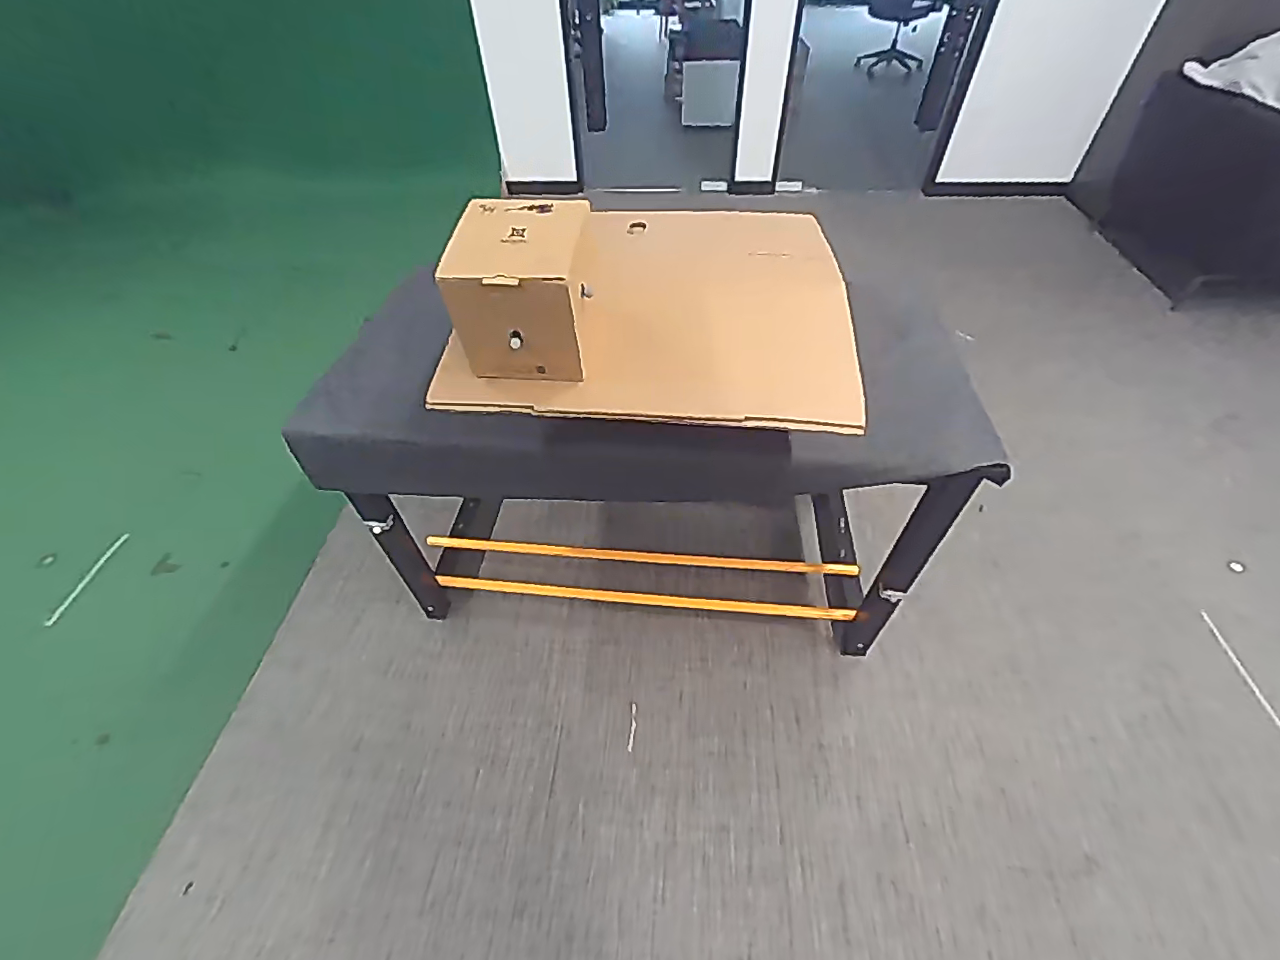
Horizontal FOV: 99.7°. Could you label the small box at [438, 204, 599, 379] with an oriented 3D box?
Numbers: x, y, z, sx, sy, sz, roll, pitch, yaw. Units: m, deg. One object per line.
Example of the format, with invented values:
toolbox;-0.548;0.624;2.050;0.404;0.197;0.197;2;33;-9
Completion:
small box;-0.154;-0.259;0.758;0.168;0.176;0.179;3;57;5
